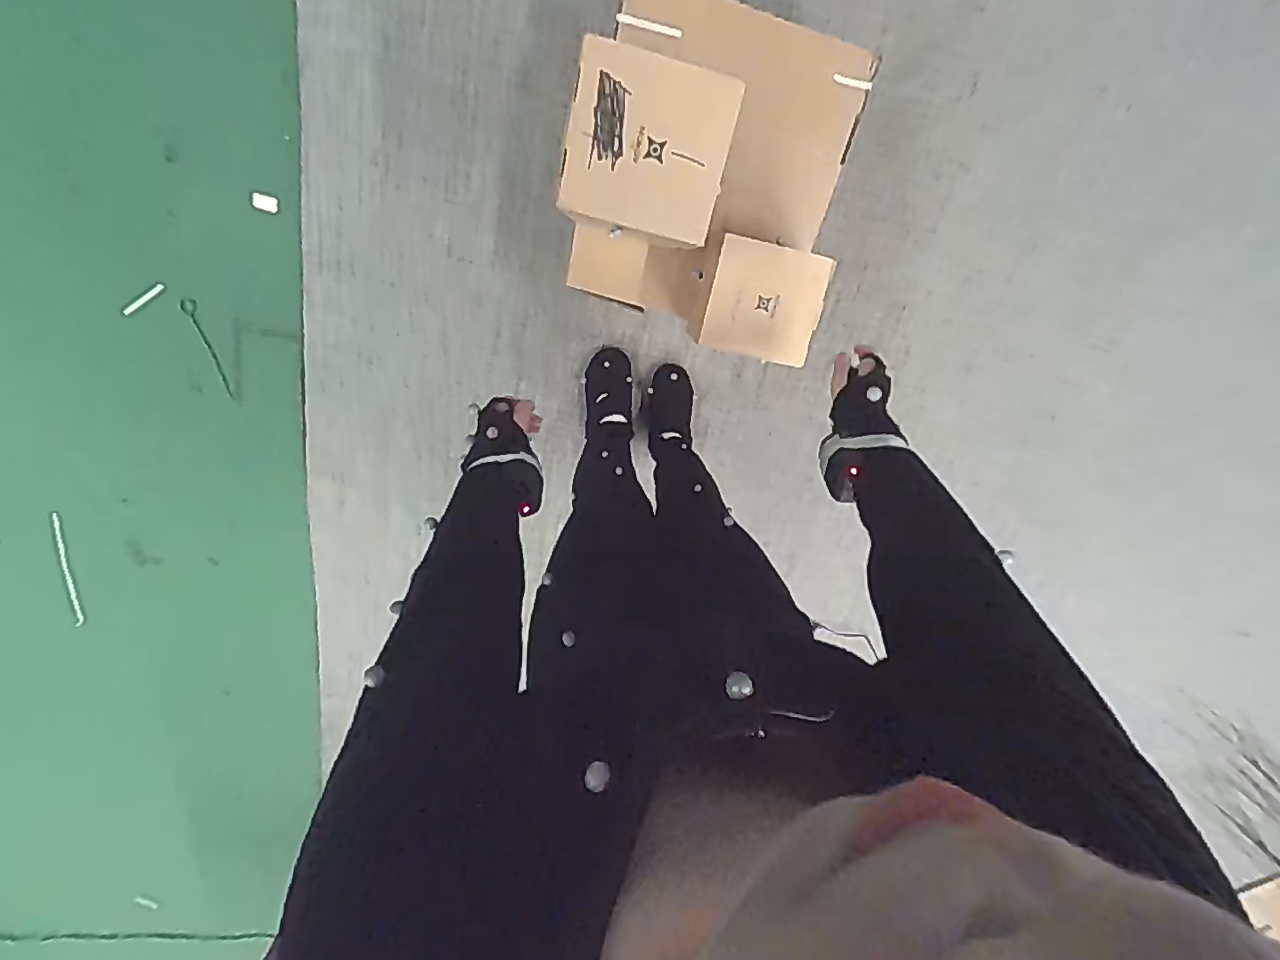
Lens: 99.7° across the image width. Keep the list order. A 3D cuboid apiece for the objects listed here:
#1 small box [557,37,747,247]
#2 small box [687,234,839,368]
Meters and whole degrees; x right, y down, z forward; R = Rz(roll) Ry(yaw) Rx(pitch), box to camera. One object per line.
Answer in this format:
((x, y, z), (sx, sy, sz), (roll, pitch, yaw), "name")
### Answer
((0.007, -0.388, 0.658), (0.179, 0.176, 0.168), (12, 112, -7), "small box")
((0.188, -0.296, 0.885), (0.179, 0.176, 0.168), (10, 112, -7), "small box")
